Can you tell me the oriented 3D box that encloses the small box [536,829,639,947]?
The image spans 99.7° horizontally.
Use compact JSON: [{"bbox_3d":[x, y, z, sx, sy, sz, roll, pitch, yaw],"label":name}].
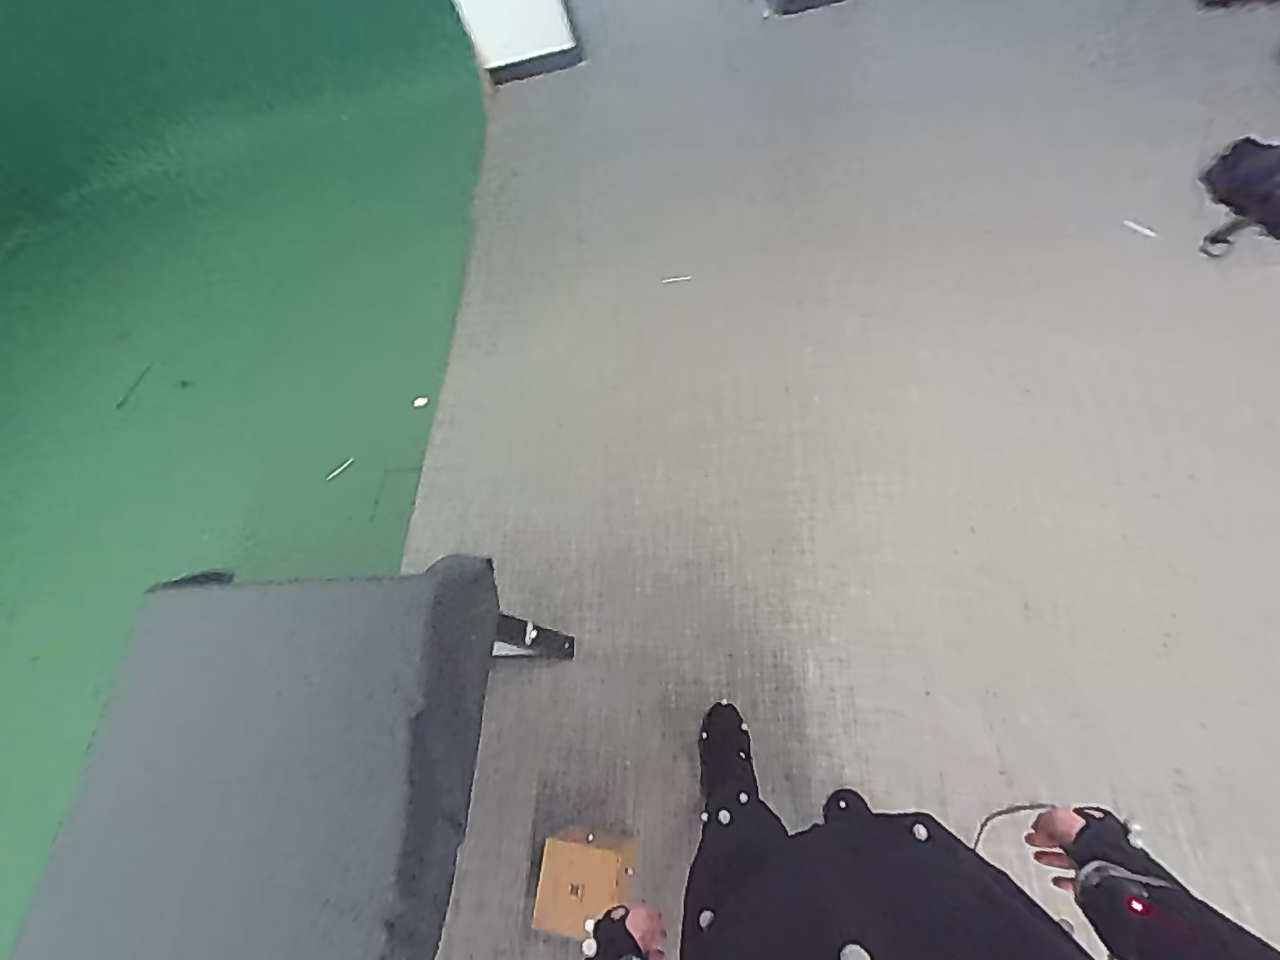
[{"bbox_3d":[-0.108,0.905,1.217,0.179,0.176,0.168,0,66,15],"label":"small box"}]
